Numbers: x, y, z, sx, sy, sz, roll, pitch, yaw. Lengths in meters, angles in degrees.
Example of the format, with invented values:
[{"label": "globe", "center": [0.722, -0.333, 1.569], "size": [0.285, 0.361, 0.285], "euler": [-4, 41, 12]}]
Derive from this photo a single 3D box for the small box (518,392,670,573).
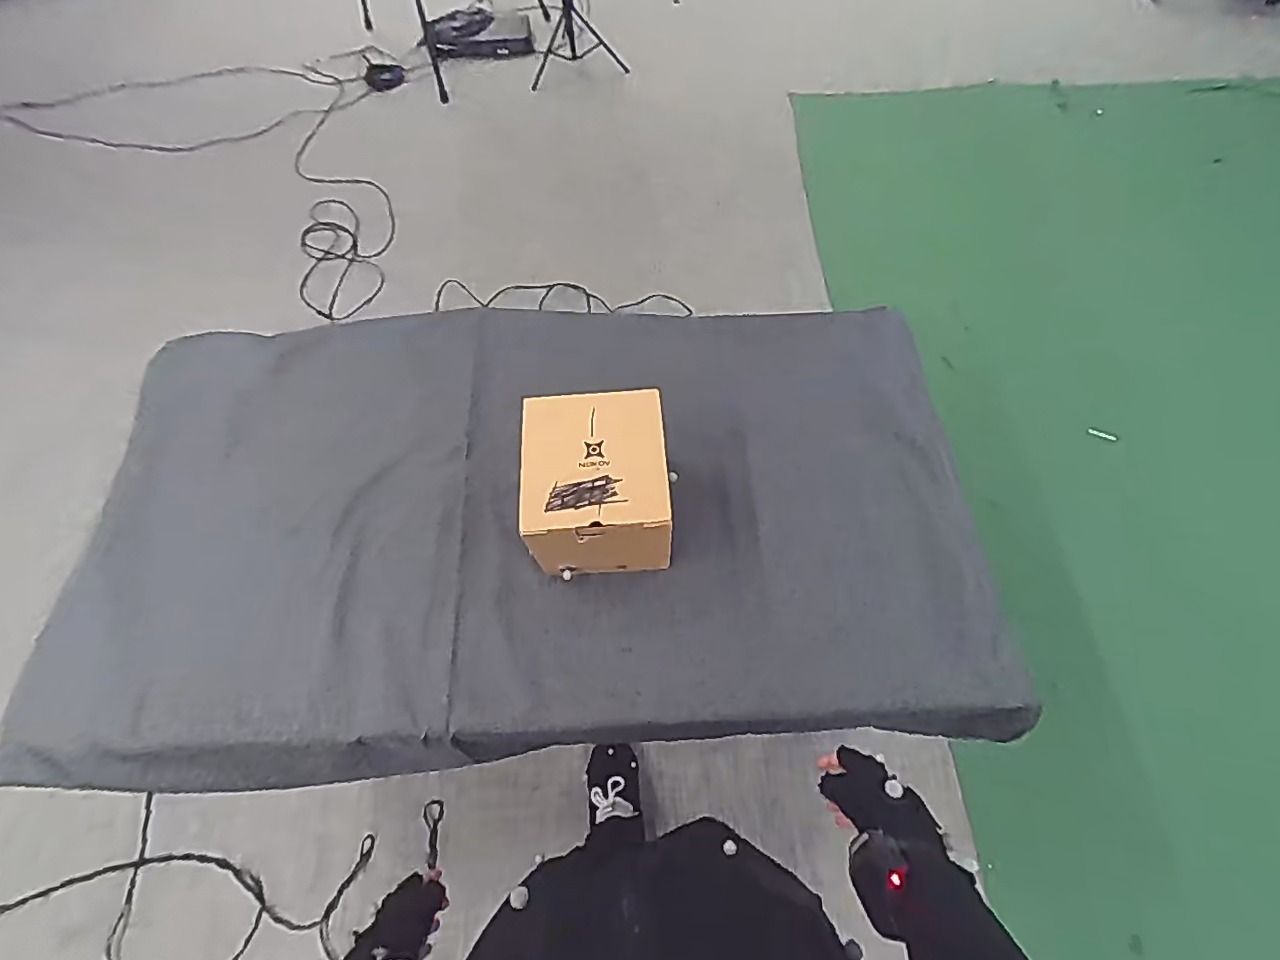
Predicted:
[{"label": "small box", "center": [-0.050, 0.013, 0.681], "size": [0.168, 0.176, 0.179], "euler": [-4, 63, 0]}]
